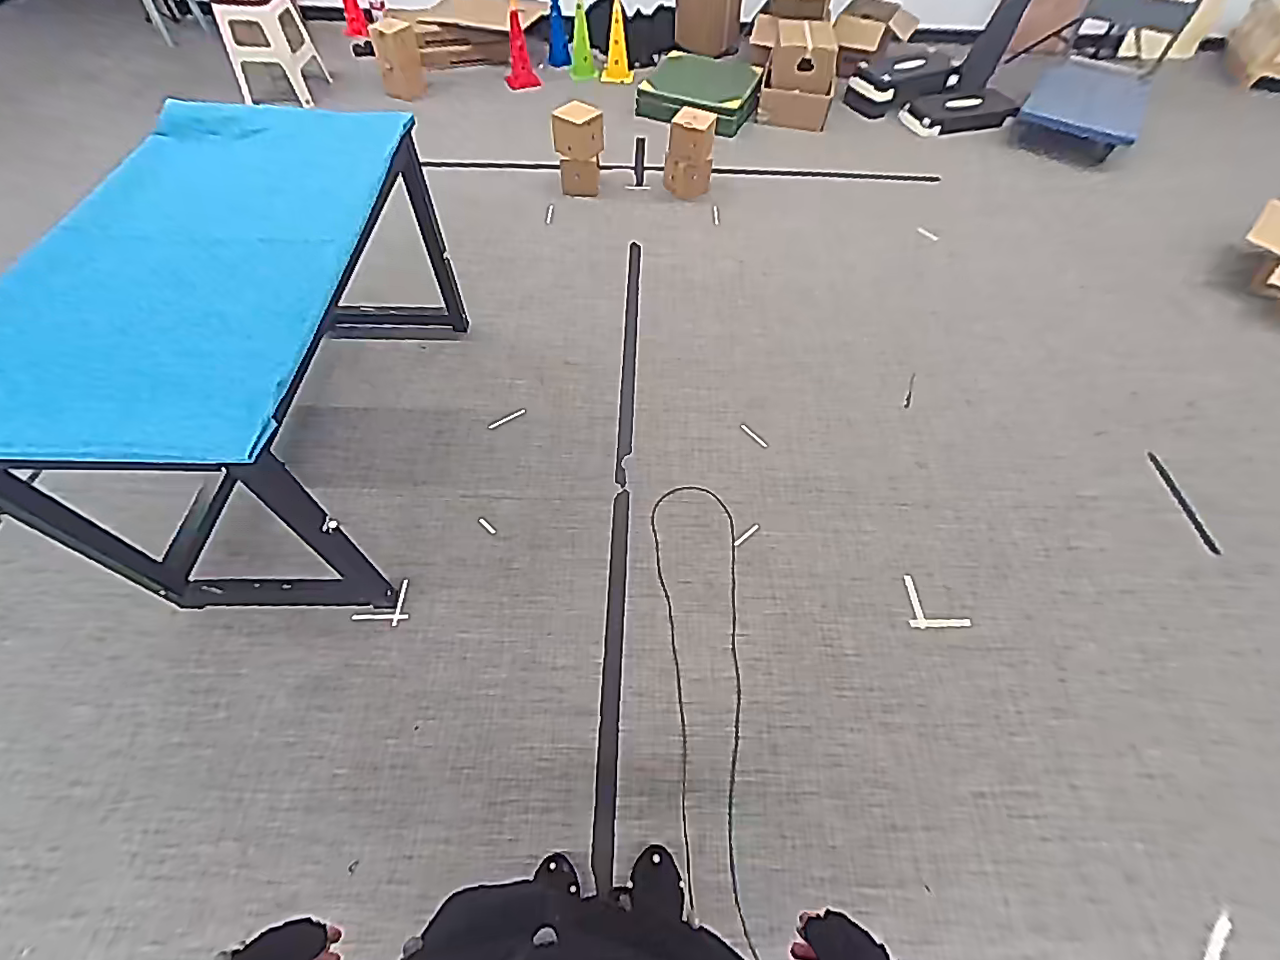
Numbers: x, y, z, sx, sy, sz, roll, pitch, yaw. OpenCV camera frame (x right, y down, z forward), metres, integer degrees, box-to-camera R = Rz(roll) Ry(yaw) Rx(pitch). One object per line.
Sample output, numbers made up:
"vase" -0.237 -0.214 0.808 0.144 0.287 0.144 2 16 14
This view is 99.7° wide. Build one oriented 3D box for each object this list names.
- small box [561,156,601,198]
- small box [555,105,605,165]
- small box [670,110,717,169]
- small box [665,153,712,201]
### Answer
"small box" -0.288 -1.518 2.668 0.179 0.176 0.168 3 56 1
"small box" -0.283 -1.621 2.536 0.179 0.176 0.168 33 61 19
"small box" 0.248 -1.602 2.550 0.168 0.176 0.179 22 58 10
"small box" 0.237 -1.521 2.693 0.179 0.176 0.168 -24 62 -17
